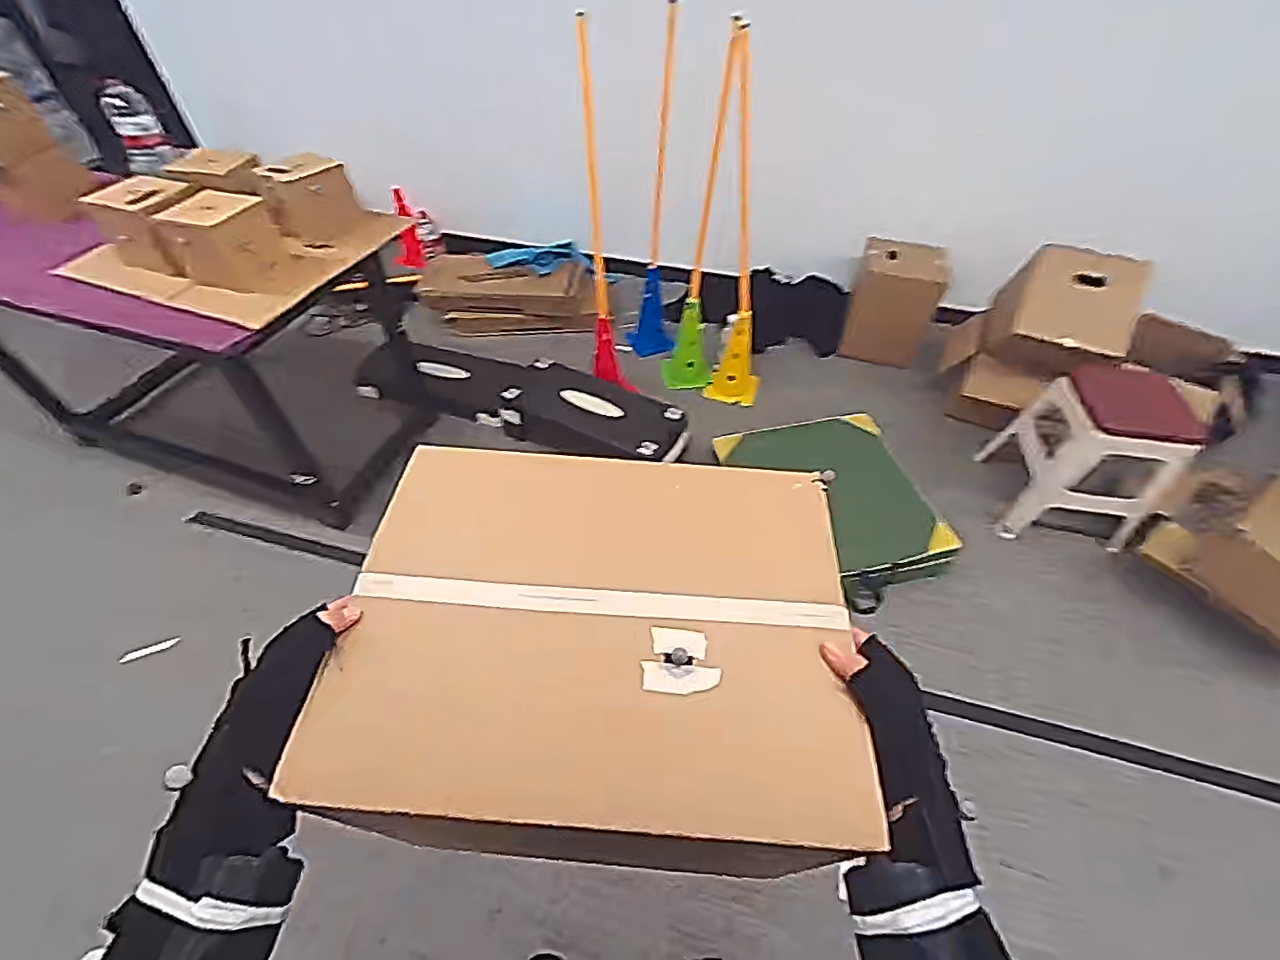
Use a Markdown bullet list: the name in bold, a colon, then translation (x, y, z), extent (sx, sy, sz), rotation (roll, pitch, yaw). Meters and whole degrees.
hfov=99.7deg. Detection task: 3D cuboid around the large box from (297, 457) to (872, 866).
- **large box**: translation (-0.037, 0.200, 0.574), extent (0.408, 0.320, 0.320), rotation (5, 52, 1)
